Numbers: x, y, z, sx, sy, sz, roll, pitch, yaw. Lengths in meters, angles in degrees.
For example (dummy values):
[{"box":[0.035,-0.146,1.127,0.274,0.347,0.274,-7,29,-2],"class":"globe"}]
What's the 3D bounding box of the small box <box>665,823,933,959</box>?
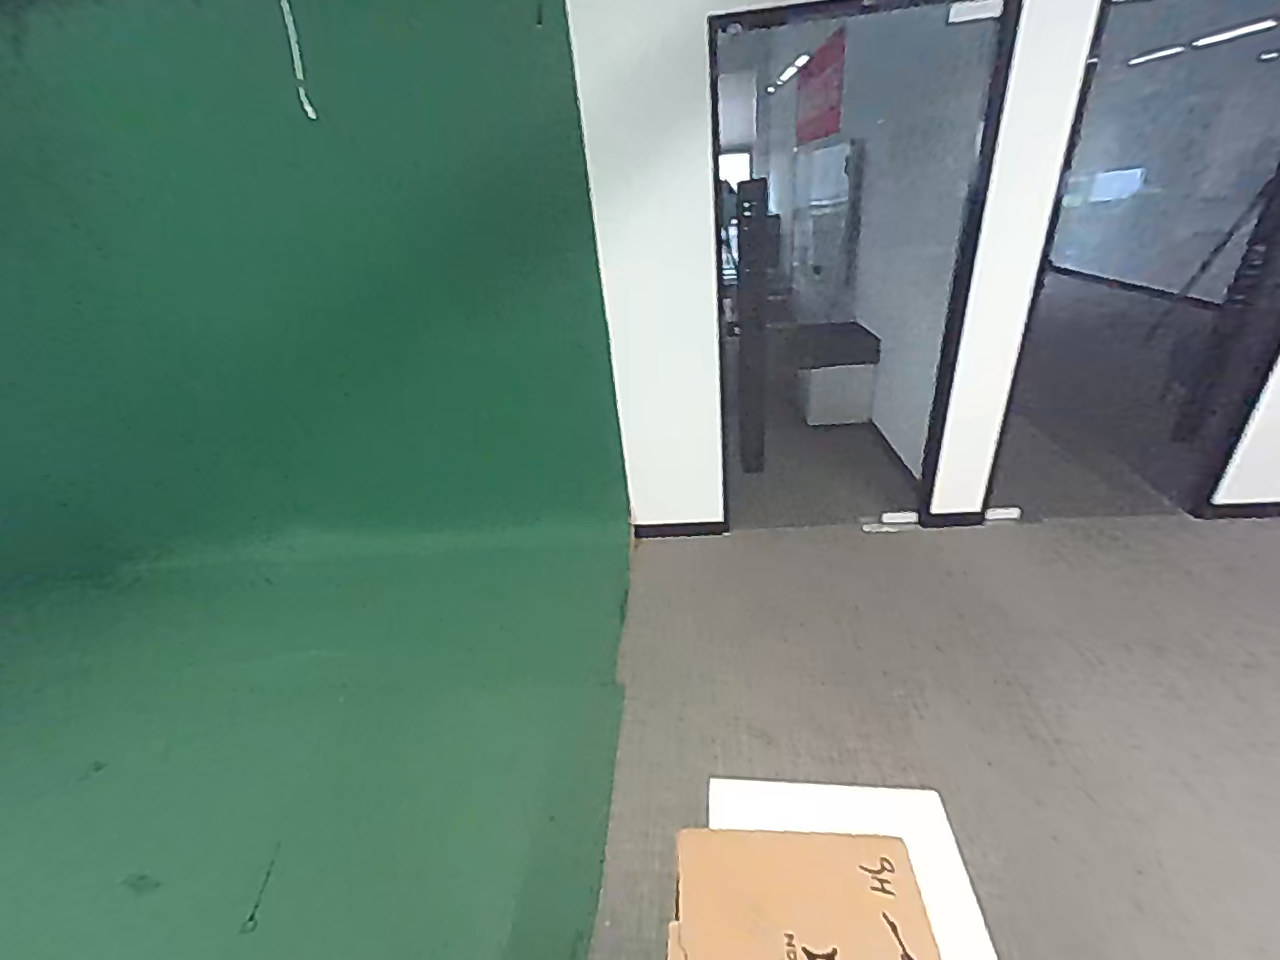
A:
[{"box":[0.109,0.383,0.395,0.179,0.176,0.168,-1,32,6],"class":"small box"}]
